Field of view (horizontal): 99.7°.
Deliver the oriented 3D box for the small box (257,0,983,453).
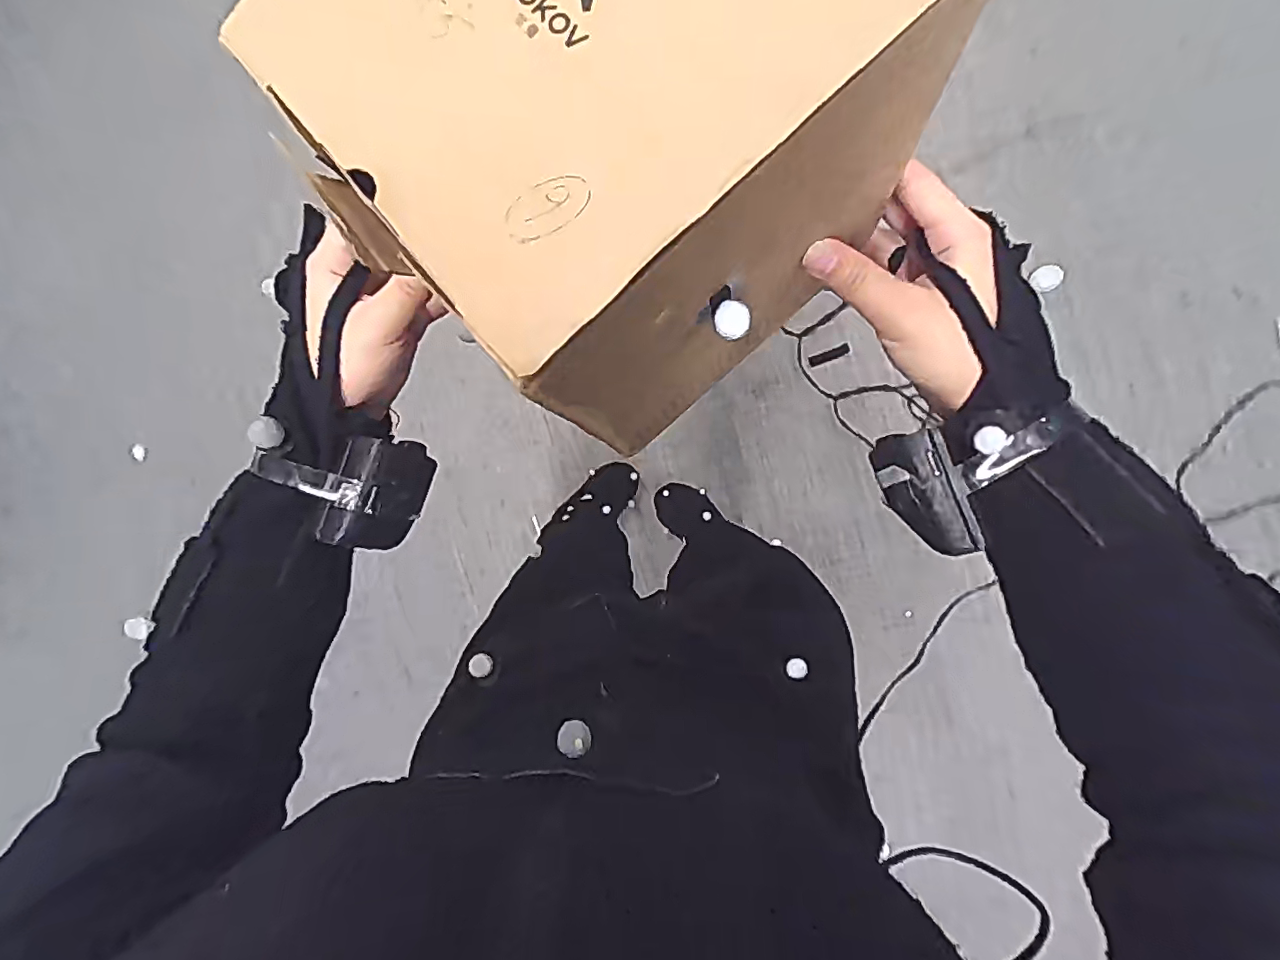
[{"bbox_3d":[-0.005,-0.130,0.243,0.179,0.176,0.168,-41,80,5],"label":"small box"}]
